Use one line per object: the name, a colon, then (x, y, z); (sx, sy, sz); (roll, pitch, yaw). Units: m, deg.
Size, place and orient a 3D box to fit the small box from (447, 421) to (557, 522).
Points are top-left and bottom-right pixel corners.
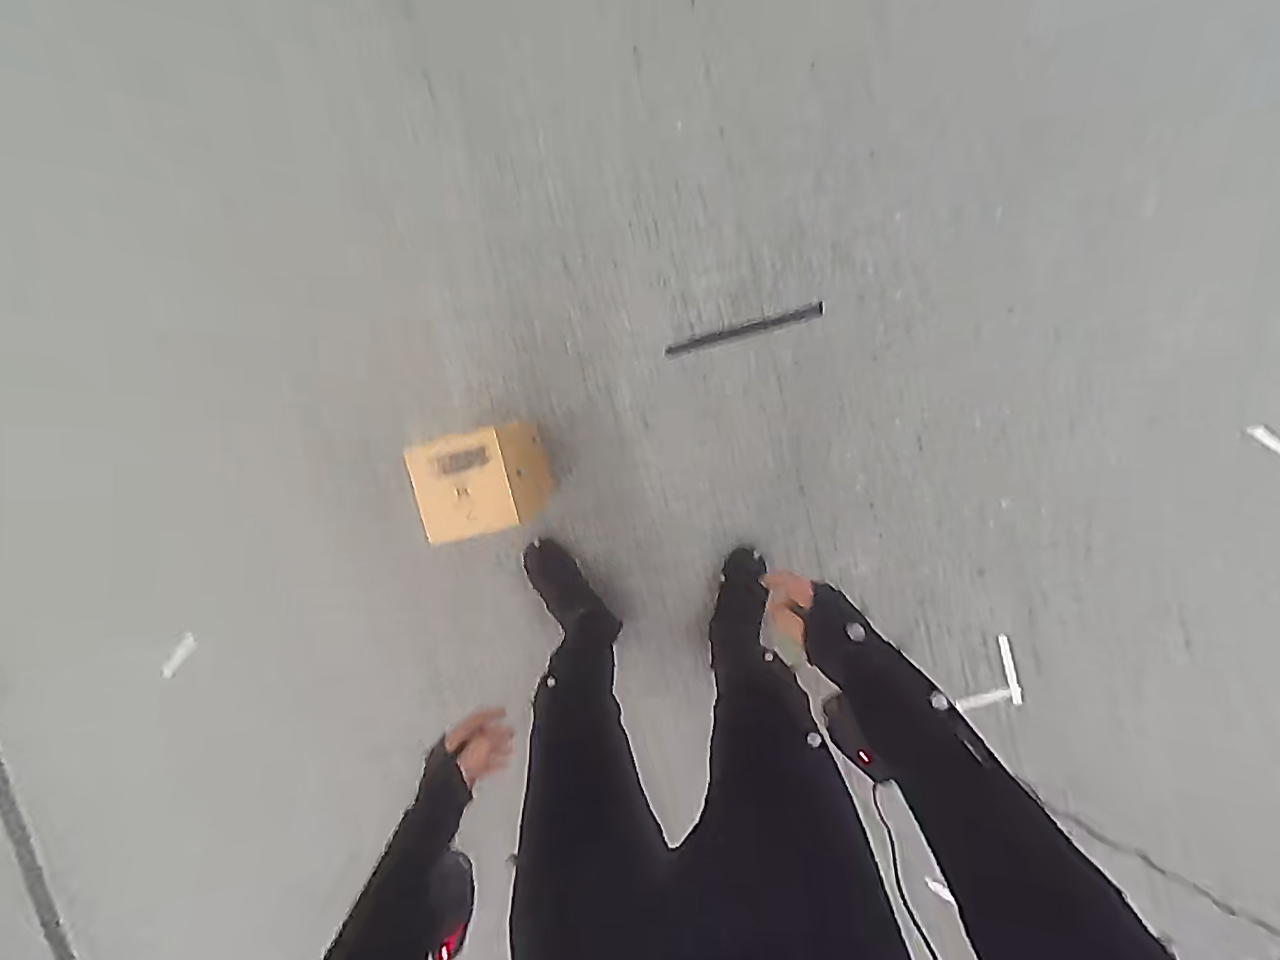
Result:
small box: (-0.292, -0.021, 1.176); (0.168, 0.176, 0.179); (-16, 94, 3)
